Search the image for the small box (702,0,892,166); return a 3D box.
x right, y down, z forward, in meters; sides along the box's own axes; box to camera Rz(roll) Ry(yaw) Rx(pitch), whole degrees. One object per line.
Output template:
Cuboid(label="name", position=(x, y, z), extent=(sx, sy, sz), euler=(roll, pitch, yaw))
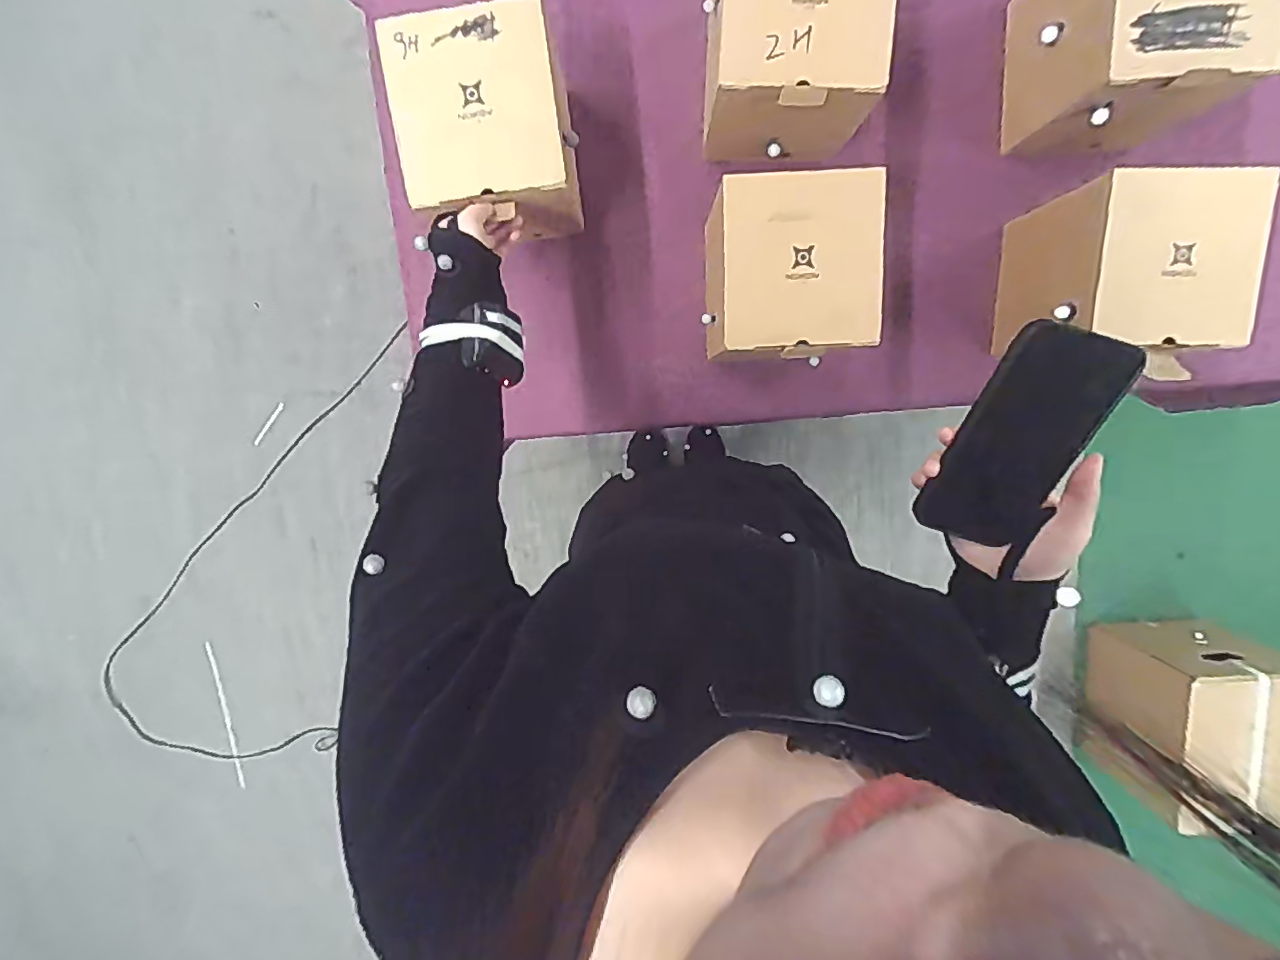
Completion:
Cuboid(label="small box", position=(0.160, -0.477, 0.595), extent=(0.168, 0.176, 0.179), euler=(3, 99, 1))

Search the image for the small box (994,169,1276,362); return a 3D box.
Cuboid(label="small box", position=(0.545, -0.232, 0.624), extent=(0.168, 0.176, 0.179), euler=(0, 99, 1))

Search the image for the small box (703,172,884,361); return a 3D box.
Cuboid(label="small box", position=(0.166, -0.233, 0.634), extent=(0.168, 0.176, 0.179), euler=(-2, 98, 1))

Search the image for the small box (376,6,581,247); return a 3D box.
Cuboid(label="small box", position=(-0.166, -0.378, 0.617), extent=(0.168, 0.176, 0.179), euler=(-7, 100, 1))
